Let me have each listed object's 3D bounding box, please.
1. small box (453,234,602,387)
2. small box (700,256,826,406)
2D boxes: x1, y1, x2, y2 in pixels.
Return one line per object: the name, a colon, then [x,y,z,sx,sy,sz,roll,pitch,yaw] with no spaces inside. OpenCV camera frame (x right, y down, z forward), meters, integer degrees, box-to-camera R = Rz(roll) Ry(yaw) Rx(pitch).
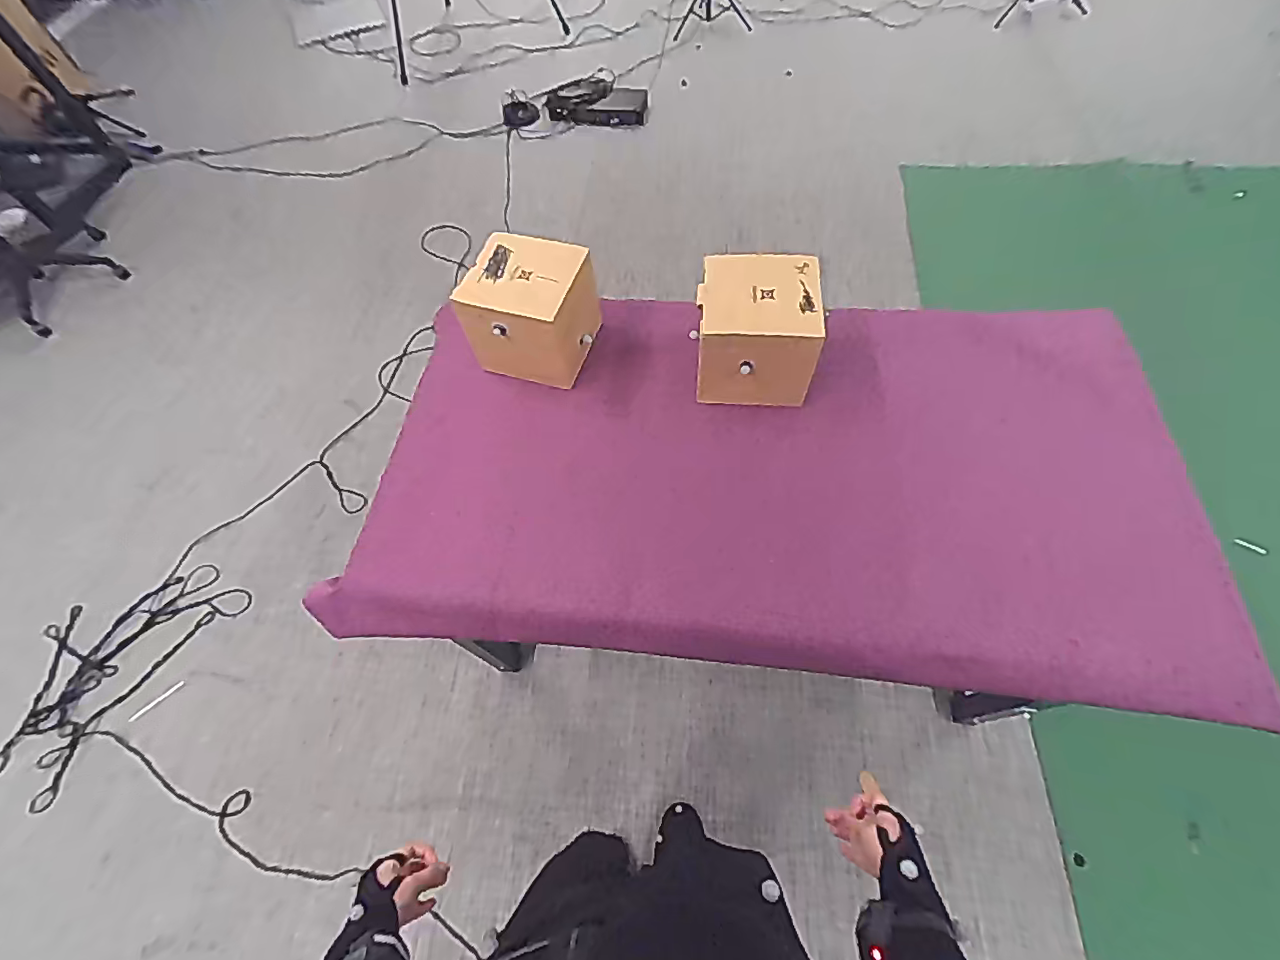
small box: [-0.177,-0.280,0.914,0.179,0.176,0.168,14,64,11]
small box: [0.186,-0.232,0.863,0.179,0.176,0.168,2,63,6]
